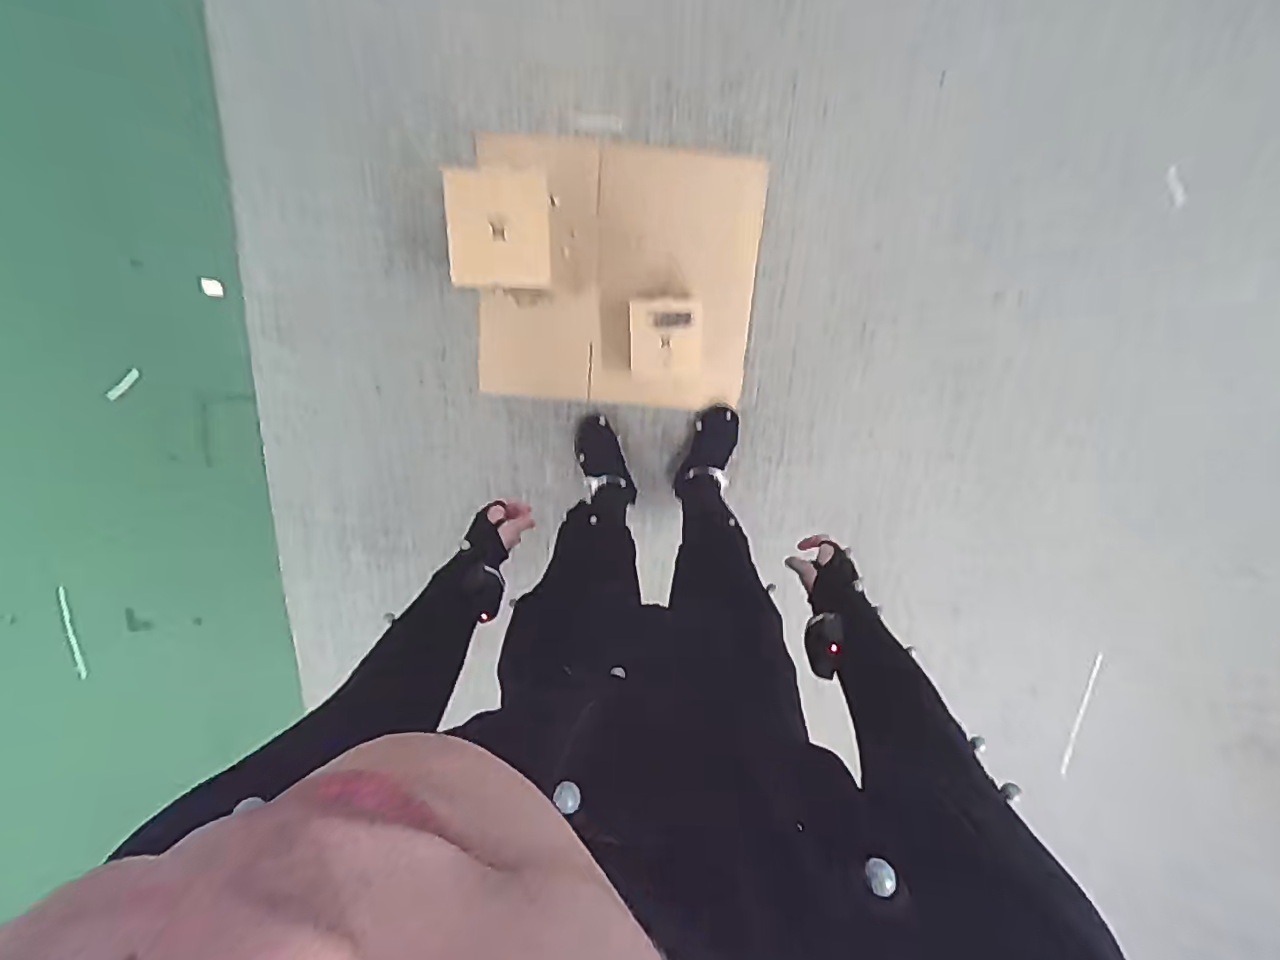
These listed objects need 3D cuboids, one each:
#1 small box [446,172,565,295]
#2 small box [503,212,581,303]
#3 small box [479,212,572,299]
[{"bbox_3d":[-0.224,-0.420,0.946,0.168,0.176,0.179,1,106,0],"label":"small box"},{"bbox_3d":[-0.231,-0.510,1.259,0.168,0.176,0.179,-3,107,1],"label":"small box"},{"bbox_3d":[-0.231,-0.464,1.102,0.168,0.176,0.179,0,106,-1],"label":"small box"}]
